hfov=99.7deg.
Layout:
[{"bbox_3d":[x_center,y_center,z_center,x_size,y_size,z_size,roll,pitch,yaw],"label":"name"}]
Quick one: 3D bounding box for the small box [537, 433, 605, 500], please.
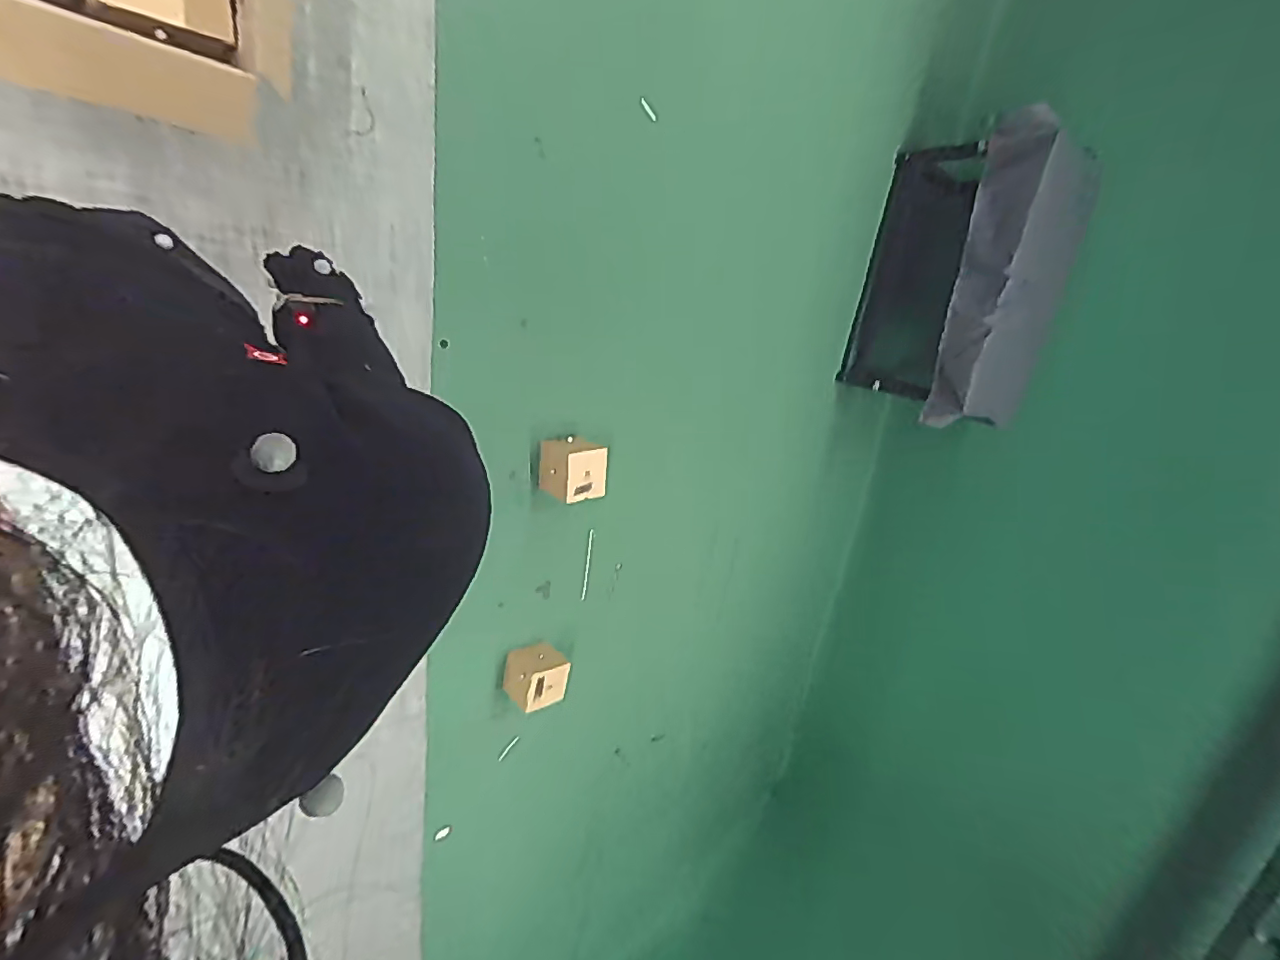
[{"bbox_3d":[-0.243,-0.051,1.862,0.168,0.176,0.179,-13,116,-42],"label":"small box"}]
